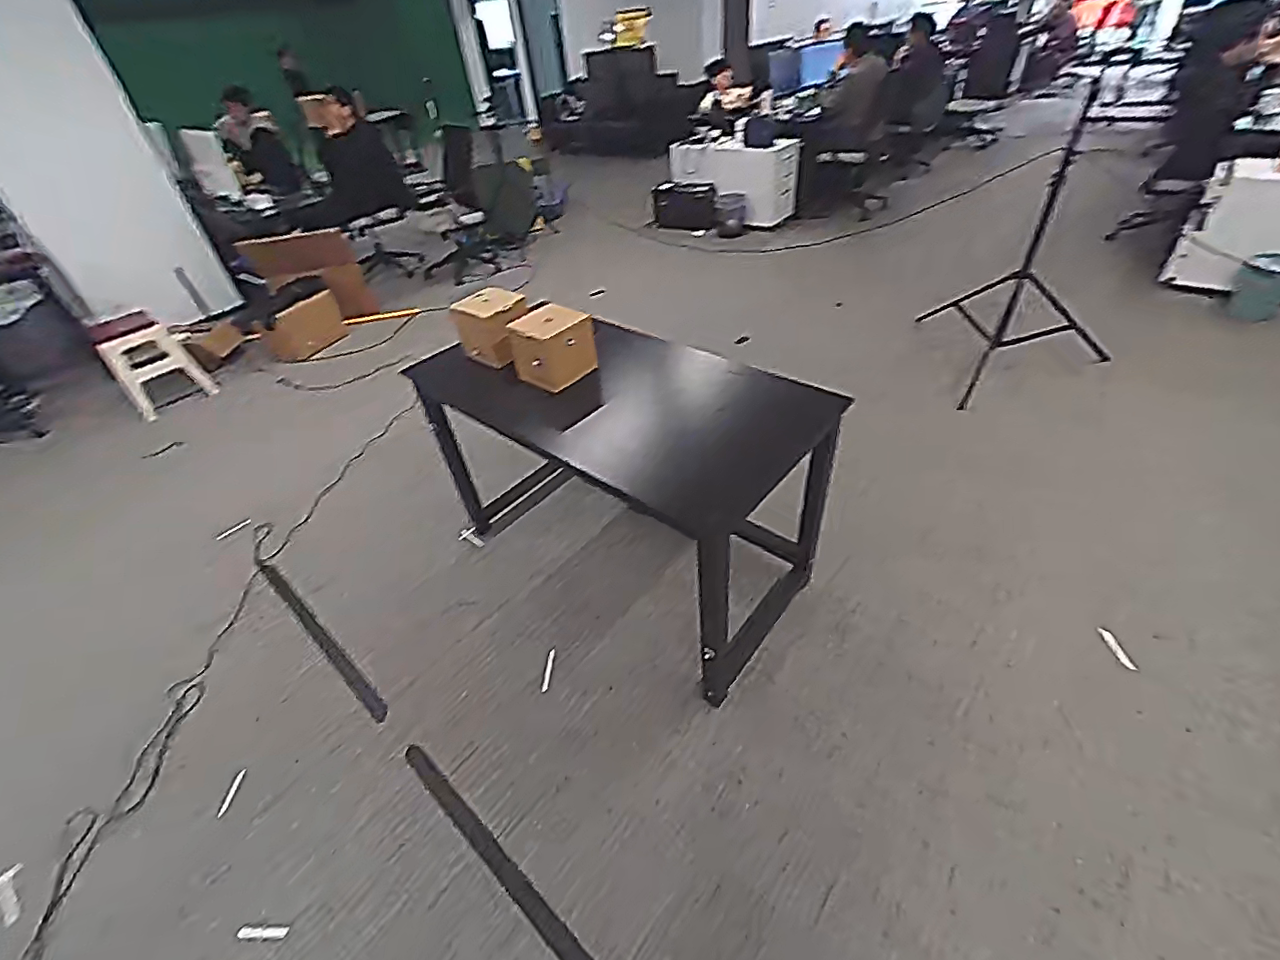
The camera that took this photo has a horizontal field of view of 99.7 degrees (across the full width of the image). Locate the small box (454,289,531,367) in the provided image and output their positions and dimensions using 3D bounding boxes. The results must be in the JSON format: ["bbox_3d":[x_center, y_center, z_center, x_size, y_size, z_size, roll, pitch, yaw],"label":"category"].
[{"bbox_3d":[-0.444,-0.473,1.692,0.179,0.176,0.168,26,50,31],"label":"small box"}]

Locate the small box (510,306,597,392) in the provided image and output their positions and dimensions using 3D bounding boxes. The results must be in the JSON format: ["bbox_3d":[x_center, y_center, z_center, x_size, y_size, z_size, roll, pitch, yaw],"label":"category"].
[{"bbox_3d":[-0.241,-0.376,1.557,0.168,0.176,0.179,27,50,31],"label":"small box"}]
